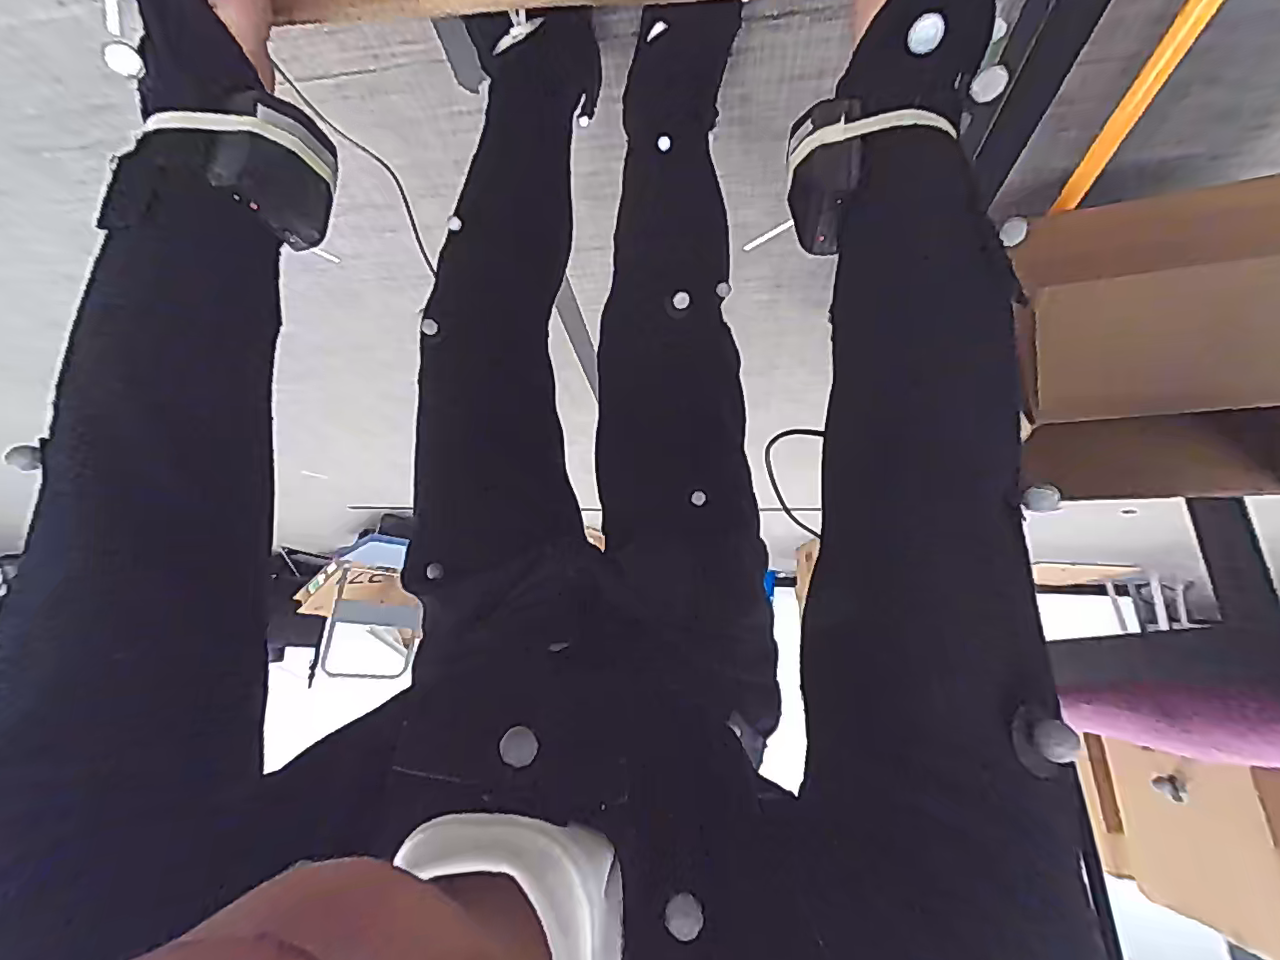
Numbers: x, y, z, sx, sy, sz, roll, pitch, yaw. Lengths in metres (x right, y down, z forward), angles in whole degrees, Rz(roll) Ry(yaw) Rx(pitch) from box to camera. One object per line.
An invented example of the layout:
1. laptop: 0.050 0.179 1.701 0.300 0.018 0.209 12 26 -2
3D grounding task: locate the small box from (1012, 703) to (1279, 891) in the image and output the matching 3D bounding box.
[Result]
1. small box: 0.609 0.376 0.672 0.179 0.176 0.168 0 160 5
